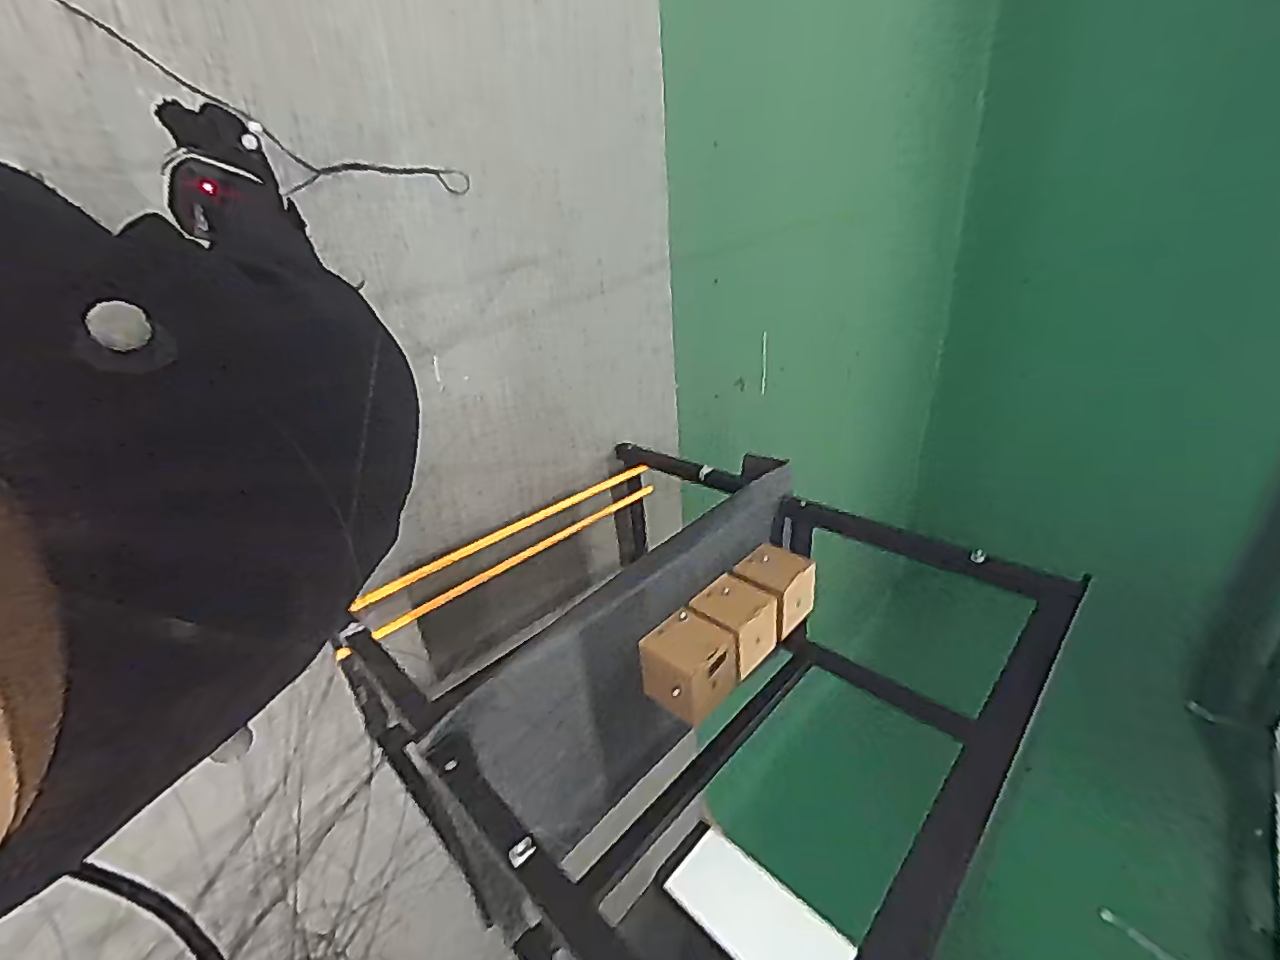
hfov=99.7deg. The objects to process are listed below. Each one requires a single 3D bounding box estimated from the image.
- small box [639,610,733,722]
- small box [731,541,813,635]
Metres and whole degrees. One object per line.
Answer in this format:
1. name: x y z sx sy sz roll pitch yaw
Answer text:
1. small box: 0.112 0.445 1.331 0.168 0.176 0.179 -28 126 -37
2. small box: 0.376 0.304 1.556 0.168 0.176 0.179 -29 125 -37
